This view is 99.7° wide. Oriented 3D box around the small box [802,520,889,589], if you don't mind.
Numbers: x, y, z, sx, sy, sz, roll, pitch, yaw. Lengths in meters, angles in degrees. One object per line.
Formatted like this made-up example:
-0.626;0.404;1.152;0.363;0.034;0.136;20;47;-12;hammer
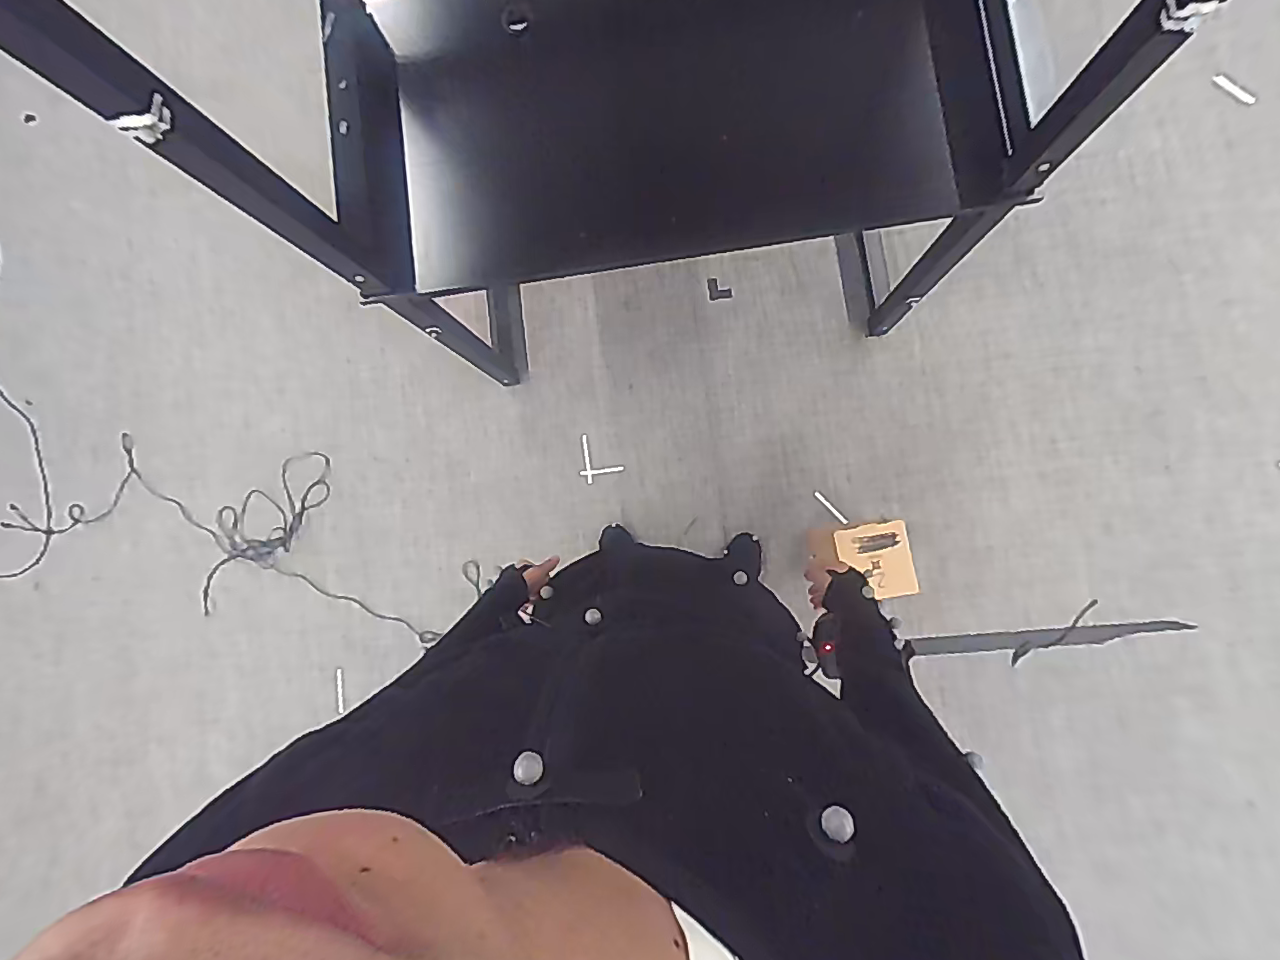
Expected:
0.567;0.202;1.511;0.179;0.176;0.168;-8;86;5;small box
